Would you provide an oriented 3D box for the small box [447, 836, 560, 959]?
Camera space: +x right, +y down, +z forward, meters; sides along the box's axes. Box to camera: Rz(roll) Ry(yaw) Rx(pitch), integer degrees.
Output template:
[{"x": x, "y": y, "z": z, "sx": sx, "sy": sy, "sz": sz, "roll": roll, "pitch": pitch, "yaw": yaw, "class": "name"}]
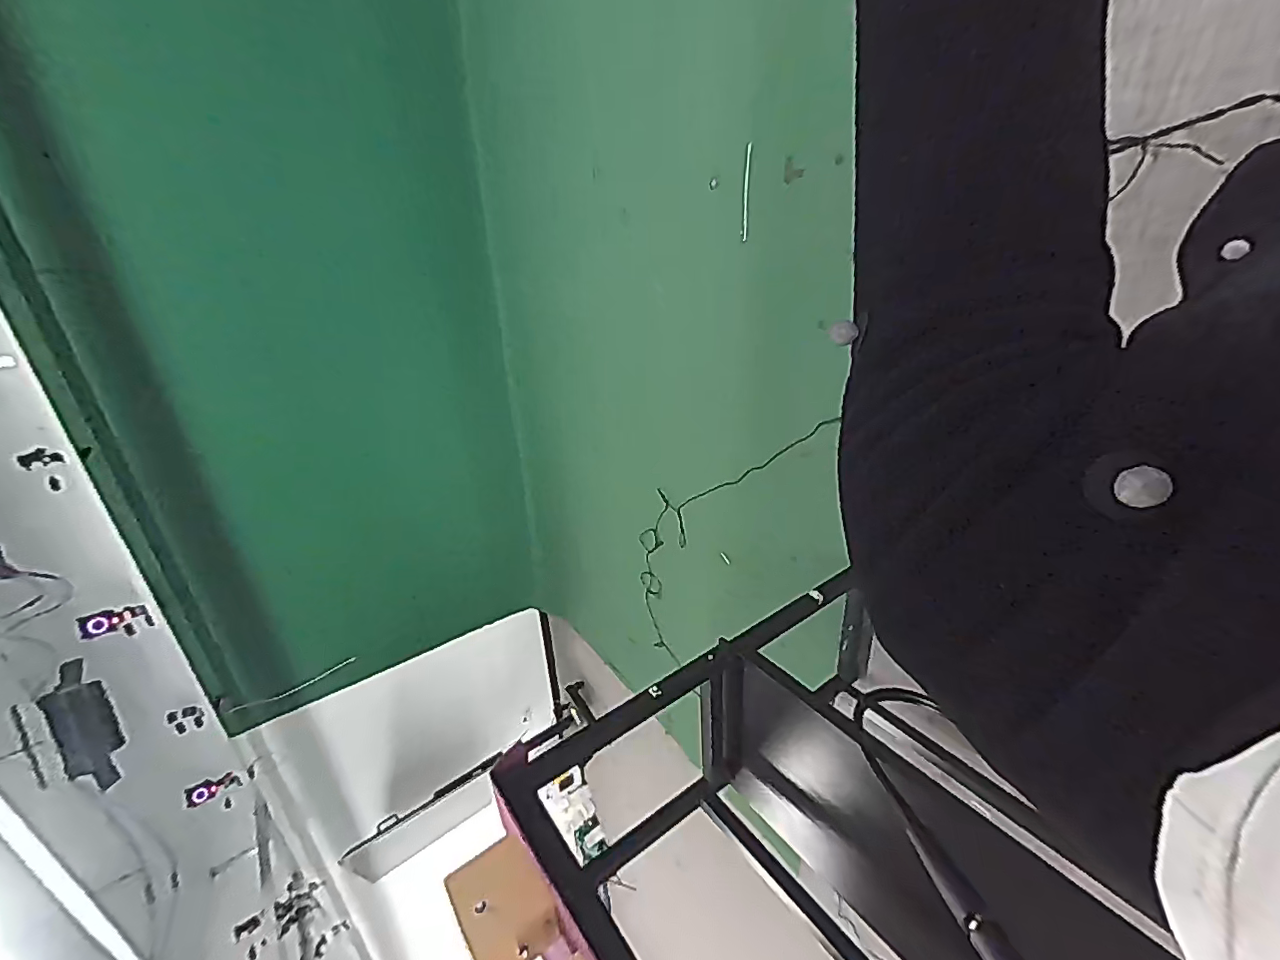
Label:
[{"x": -0.274, "y": 0.895, "z": 1.115, "sx": 0.179, "sy": 0.176, "sz": 0.168, "roll": 32, "pitch": 131, "yaw": 45, "class": "small box"}]
